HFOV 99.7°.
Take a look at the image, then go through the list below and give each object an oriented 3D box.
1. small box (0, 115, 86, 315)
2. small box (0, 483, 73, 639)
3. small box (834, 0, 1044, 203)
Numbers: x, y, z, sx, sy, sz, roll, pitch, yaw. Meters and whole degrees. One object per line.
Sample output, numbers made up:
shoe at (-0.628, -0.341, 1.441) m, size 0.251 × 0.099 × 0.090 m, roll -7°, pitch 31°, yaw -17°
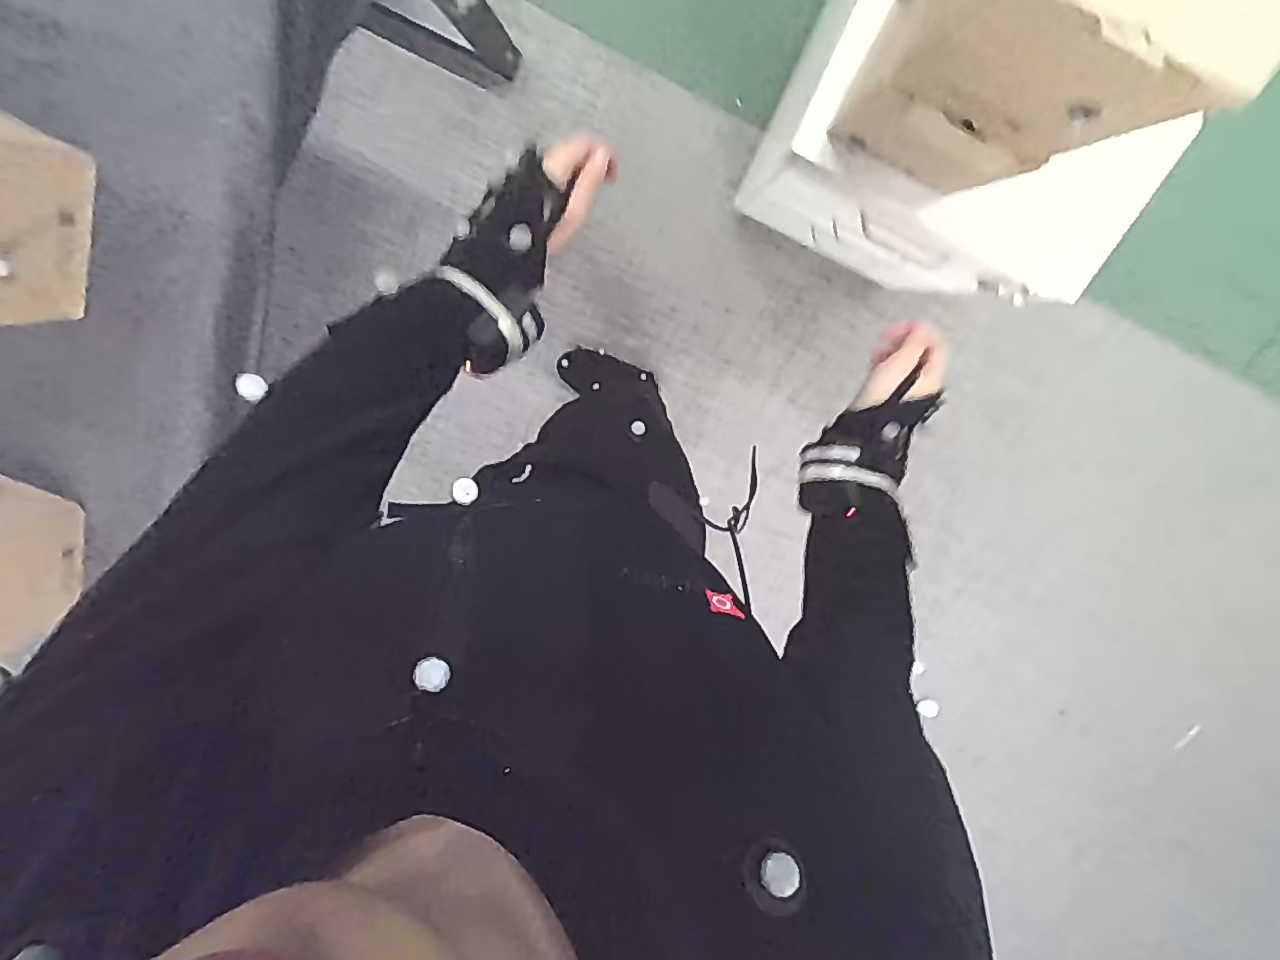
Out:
small box at (-0.634, -0.247, 0.455) m, size 0.179 × 0.176 × 0.168 m, roll 25°, pitch 109°, yaw -7°
small box at (-0.791, 0.095, 0.585) m, size 0.179 × 0.176 × 0.168 m, roll 23°, pitch 109°, yaw -6°
small box at (0.312, -0.394, 0.518) m, size 0.168 × 0.176 × 0.179 m, roll 24°, pitch 108°, yaw -8°
